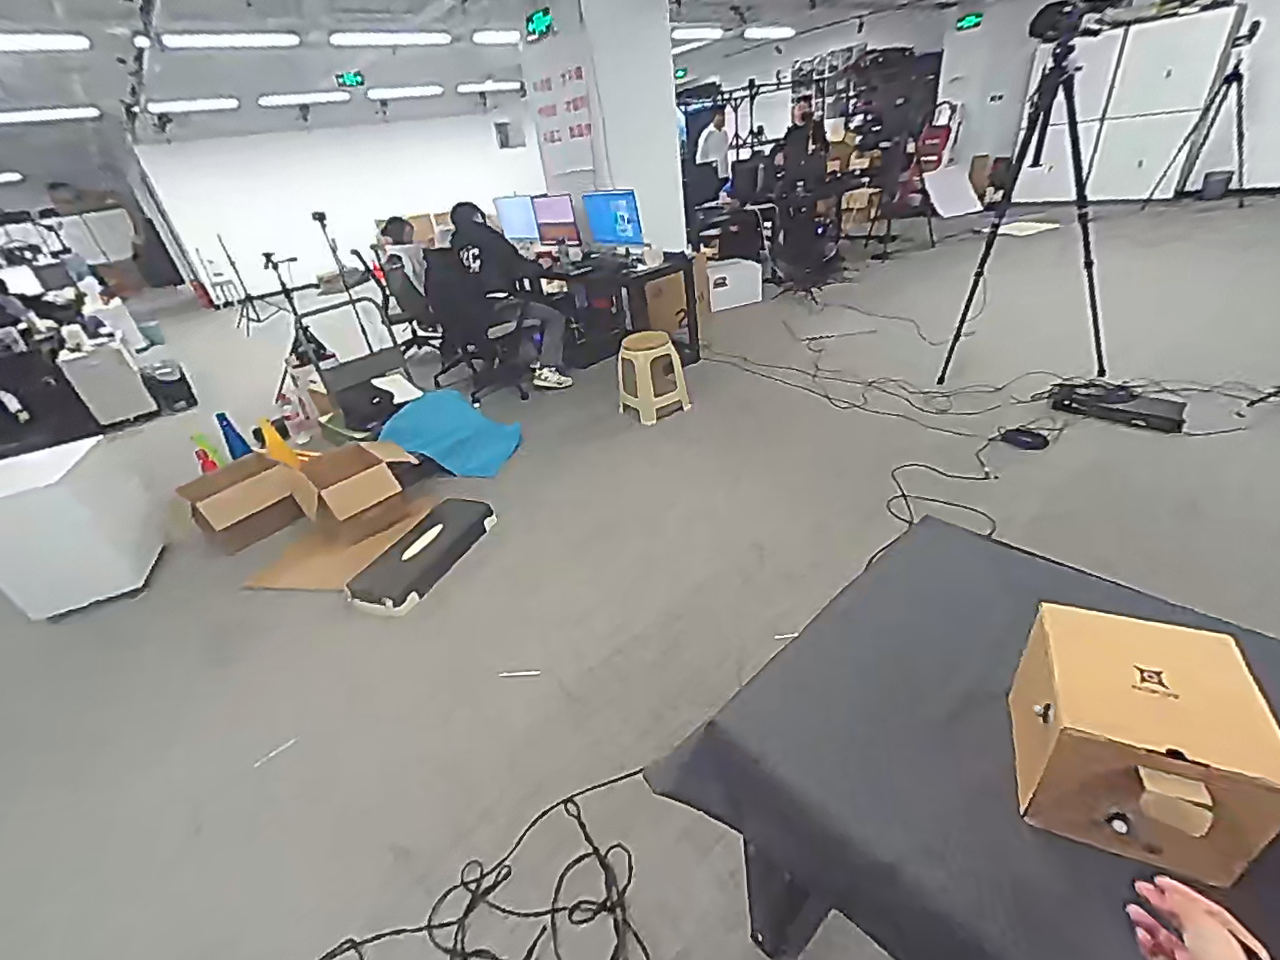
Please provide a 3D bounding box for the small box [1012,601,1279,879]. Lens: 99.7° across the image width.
[{"bbox_3d":[0.512,0.263,0.571,0.168,0.176,0.179,8,36,25],"label":"small box"}]
